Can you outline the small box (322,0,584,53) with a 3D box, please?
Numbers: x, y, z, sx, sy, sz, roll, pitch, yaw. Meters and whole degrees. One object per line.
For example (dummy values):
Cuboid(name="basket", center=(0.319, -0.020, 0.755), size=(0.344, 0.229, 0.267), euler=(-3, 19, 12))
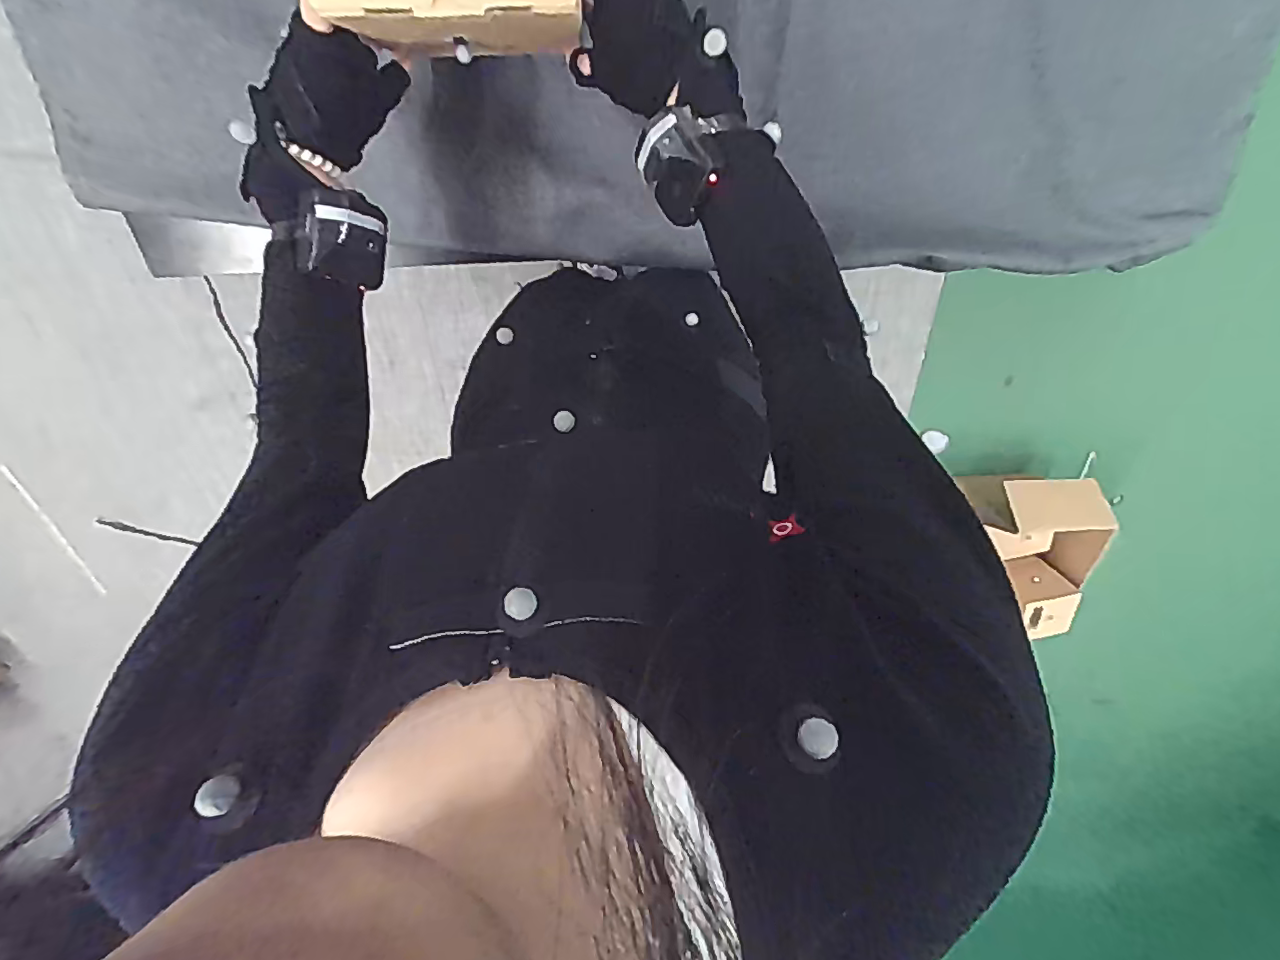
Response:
Cuboid(name="small box", center=(-0.128, -0.414, 0.369), size=(0.168, 0.176, 0.179), euler=(-4, 123, -4))
